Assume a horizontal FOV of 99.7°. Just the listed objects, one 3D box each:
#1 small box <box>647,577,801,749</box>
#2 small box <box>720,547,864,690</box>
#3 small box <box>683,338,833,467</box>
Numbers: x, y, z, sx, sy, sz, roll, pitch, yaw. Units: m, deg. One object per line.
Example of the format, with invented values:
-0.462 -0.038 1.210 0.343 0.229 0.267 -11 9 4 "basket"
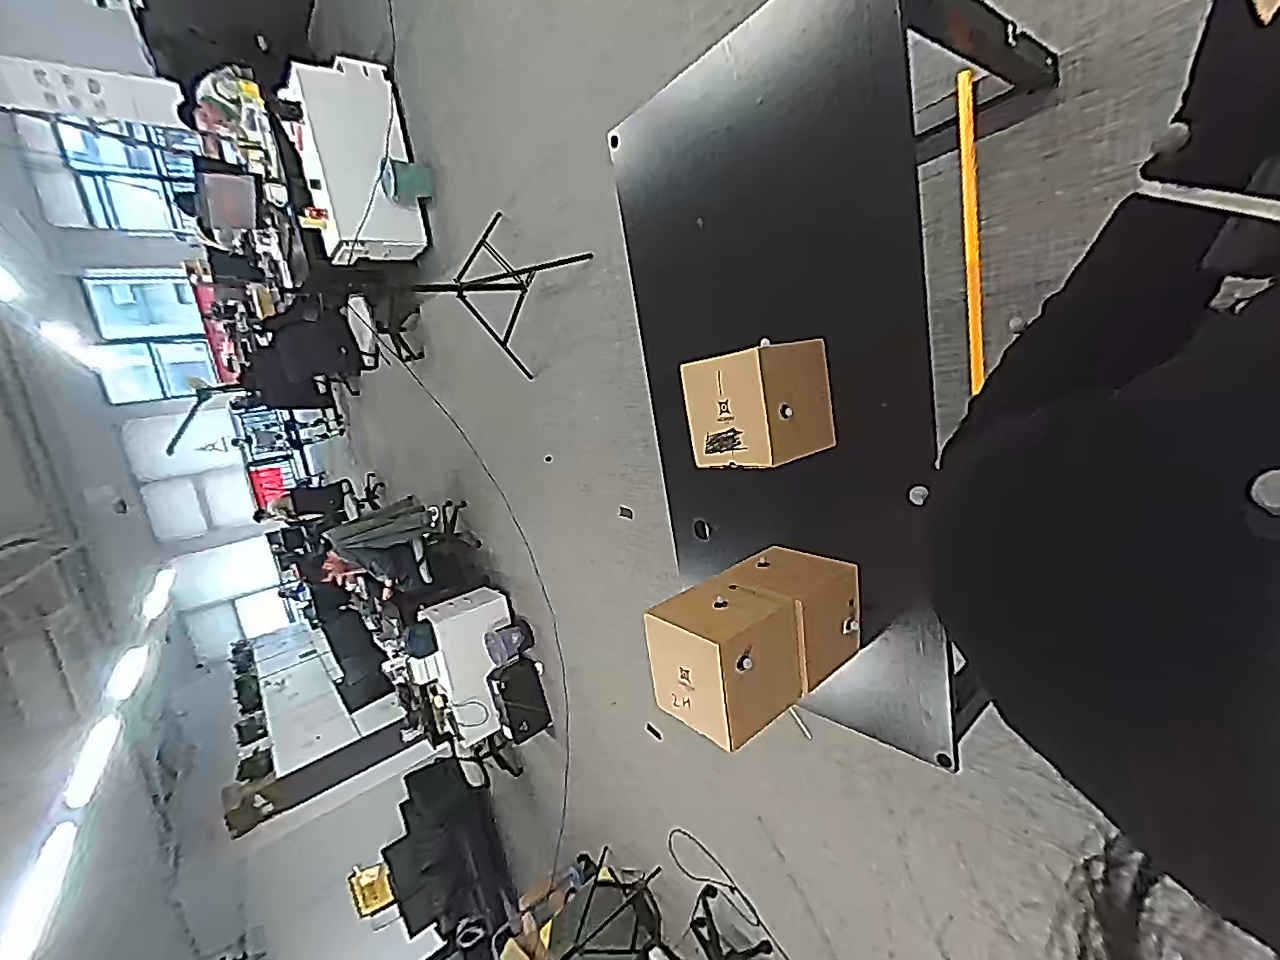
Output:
0.136 0.273 0.856 0.168 0.176 0.179 9 112 52 "small box"
0.267 0.227 0.946 0.179 0.176 0.168 8 111 50 "small box"
0.198 -0.126 0.888 0.168 0.176 0.179 2 105 52 "small box"
